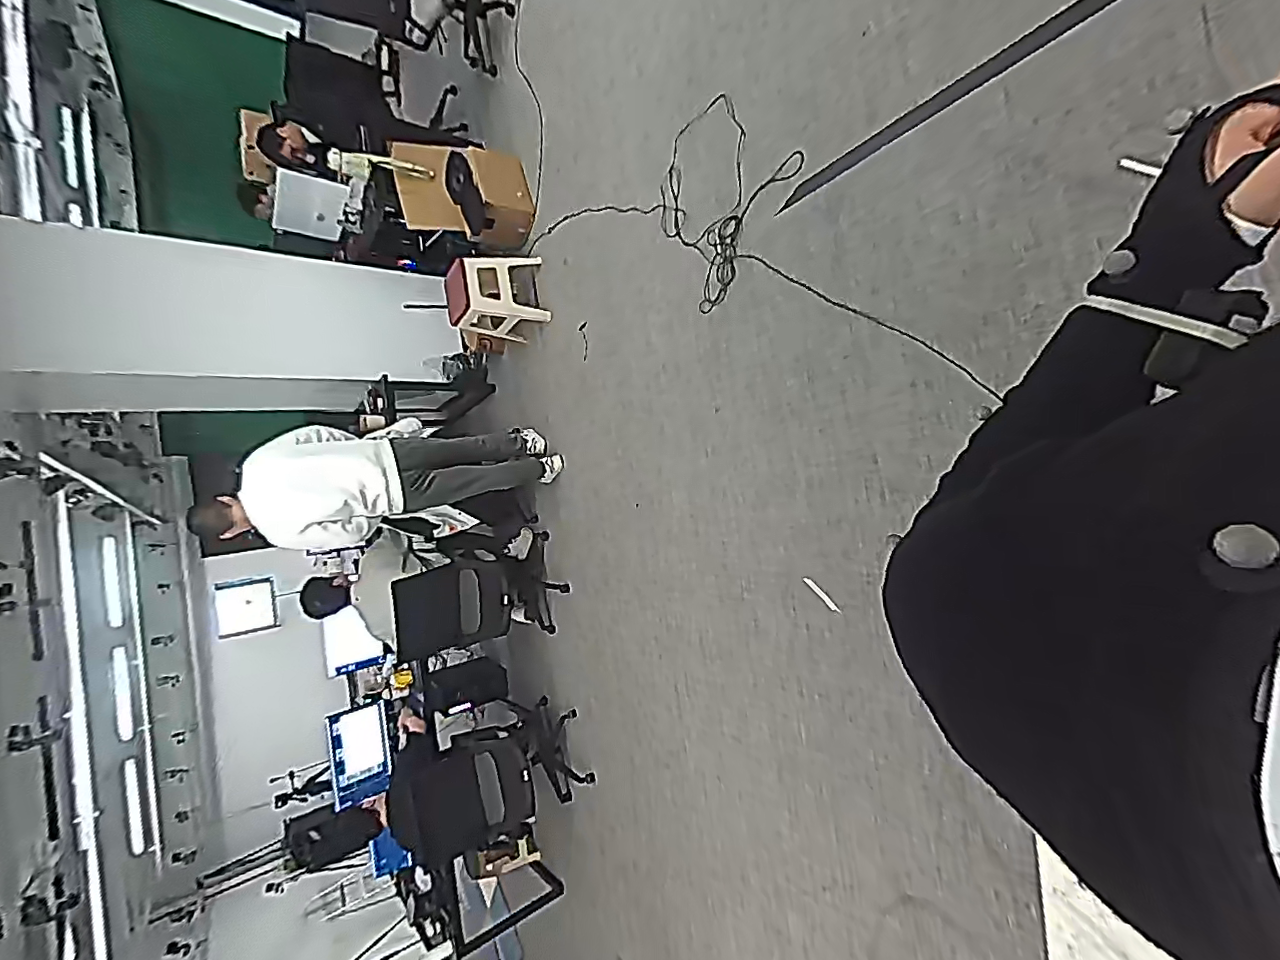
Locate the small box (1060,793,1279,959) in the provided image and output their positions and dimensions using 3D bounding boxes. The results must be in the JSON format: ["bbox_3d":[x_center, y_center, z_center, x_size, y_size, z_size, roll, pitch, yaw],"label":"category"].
[{"bbox_3d":[0.631,0.511,0.631,0.168,0.176,0.179,-11,86,56],"label":"small box"}]
